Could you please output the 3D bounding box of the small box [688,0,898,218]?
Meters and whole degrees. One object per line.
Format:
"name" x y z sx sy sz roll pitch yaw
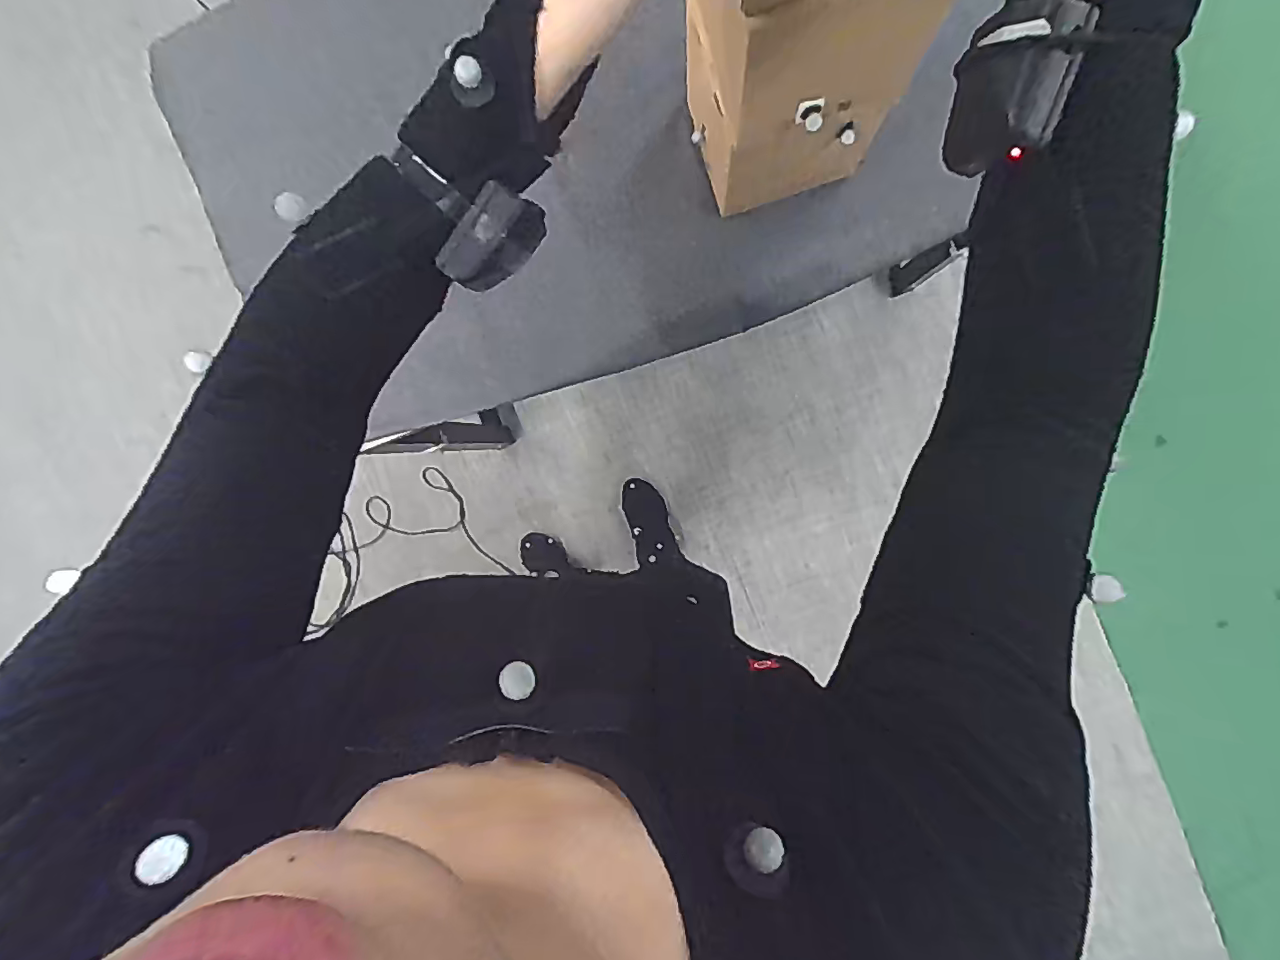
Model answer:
"small box" 0.158 -0.434 0.615 0.179 0.176 0.168 -16 91 6

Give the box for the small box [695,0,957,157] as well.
"small box" 0.141 -0.419 0.453 0.168 0.176 0.179 -14 92 9
